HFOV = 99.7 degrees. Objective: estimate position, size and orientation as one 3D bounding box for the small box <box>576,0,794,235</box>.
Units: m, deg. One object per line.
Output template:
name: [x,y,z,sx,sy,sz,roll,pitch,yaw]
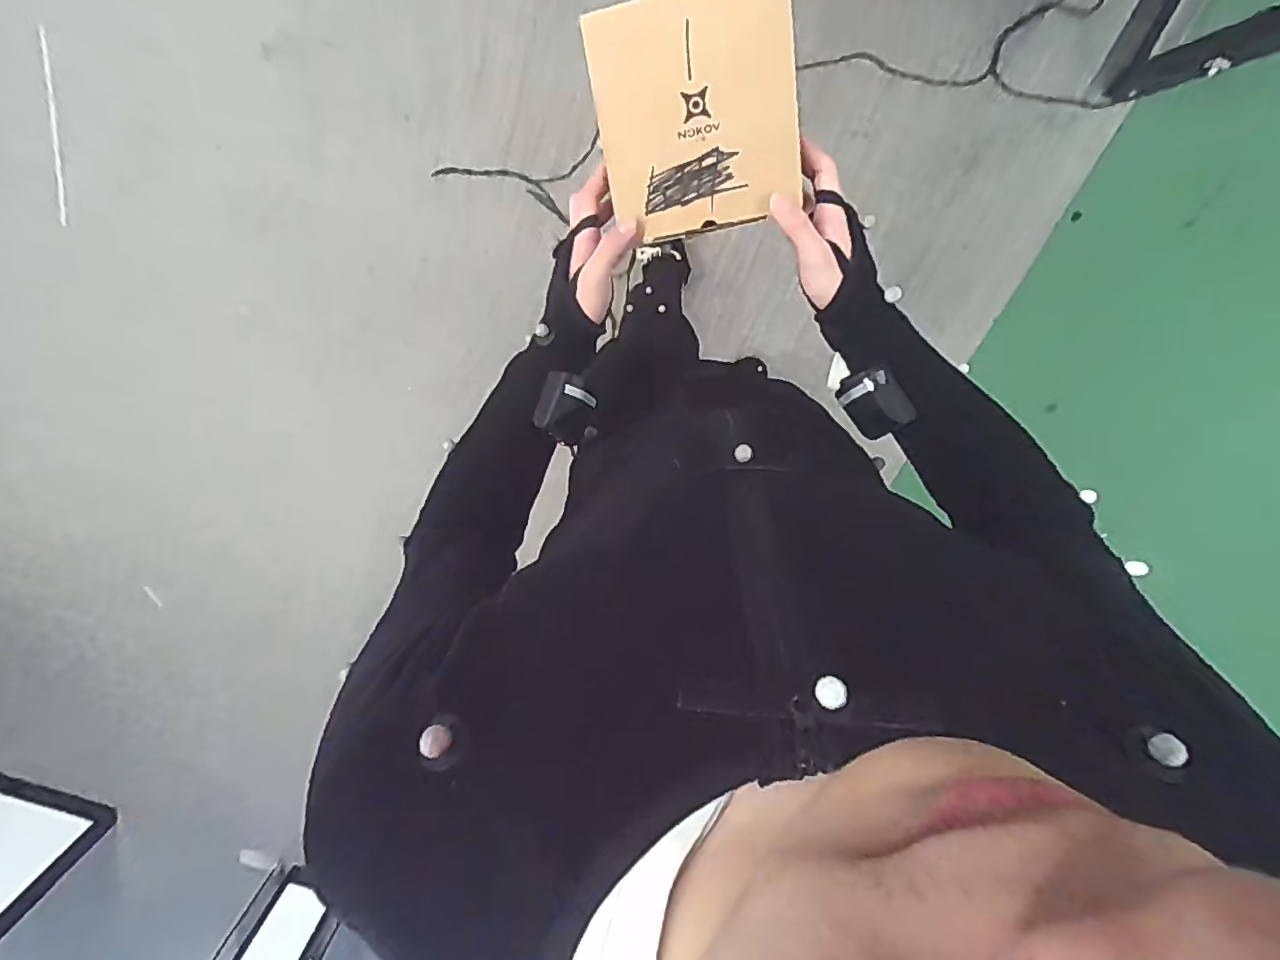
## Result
small box: [0.051,-0.344,0.519,0.168,0.176,0.179,-7,113,9]
